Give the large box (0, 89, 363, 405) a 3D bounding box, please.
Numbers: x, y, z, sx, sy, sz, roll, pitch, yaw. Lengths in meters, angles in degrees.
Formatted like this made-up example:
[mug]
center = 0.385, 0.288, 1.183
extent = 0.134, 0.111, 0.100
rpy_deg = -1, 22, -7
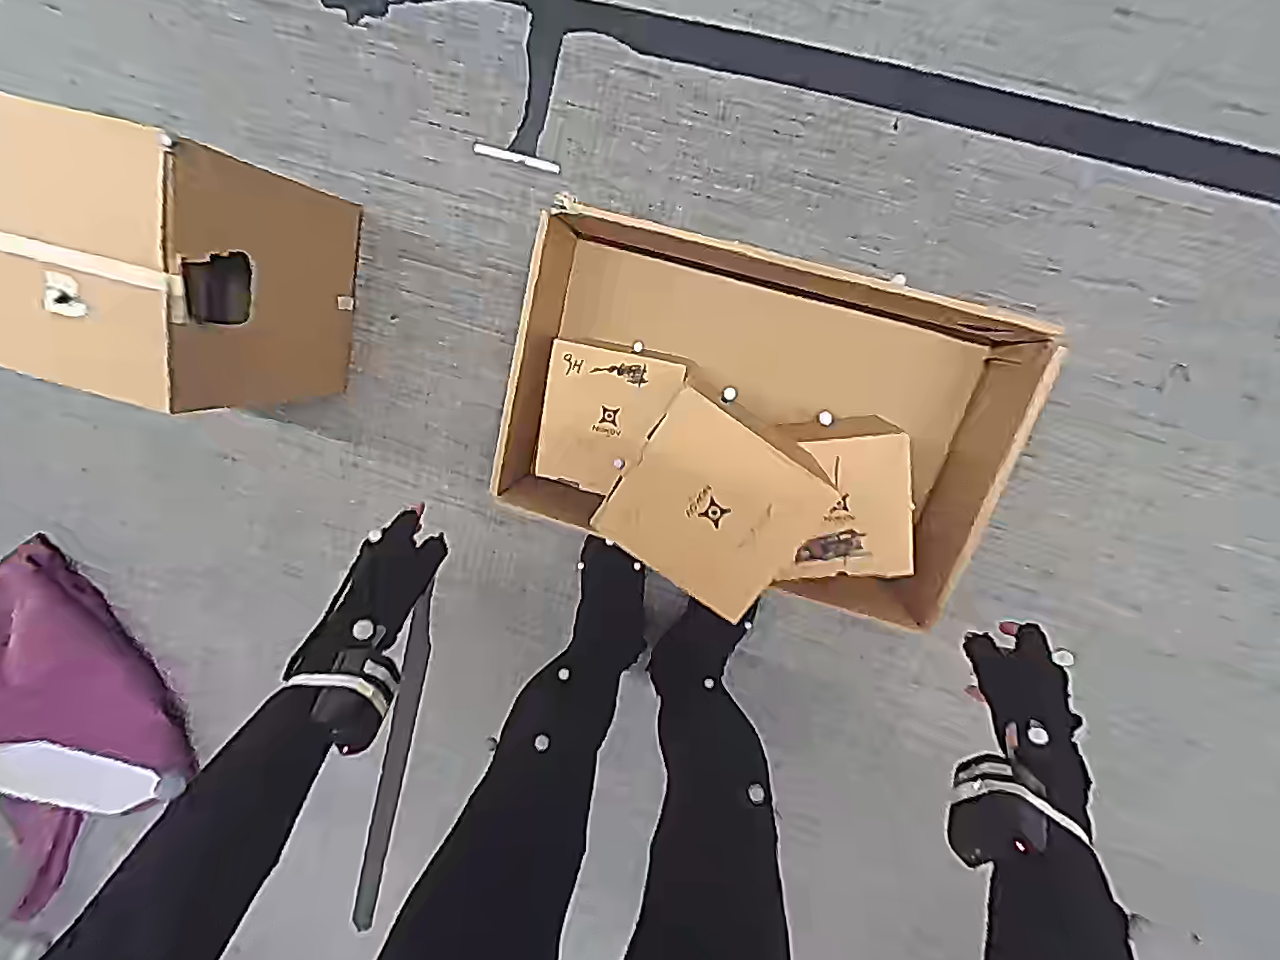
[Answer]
[large box]
center = -0.687, -0.313, 0.775
extent = 0.408, 0.320, 0.320
rpy_deg = 15, 106, 5
